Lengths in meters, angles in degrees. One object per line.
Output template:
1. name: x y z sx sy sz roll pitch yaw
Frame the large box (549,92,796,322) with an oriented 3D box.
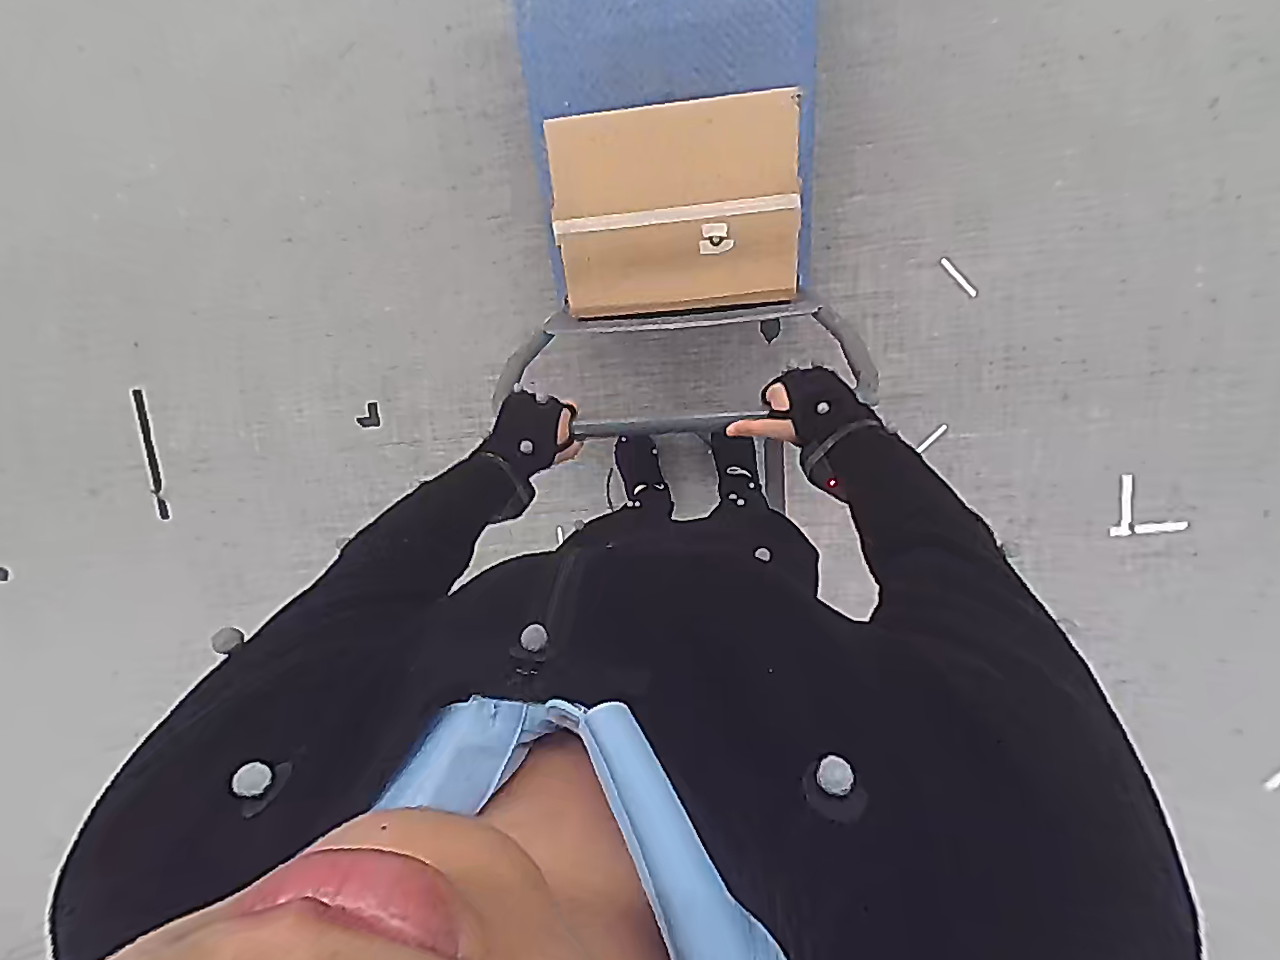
1. large box: 0.071 -0.510 1.058 0.408 0.320 0.320 -4 115 6
